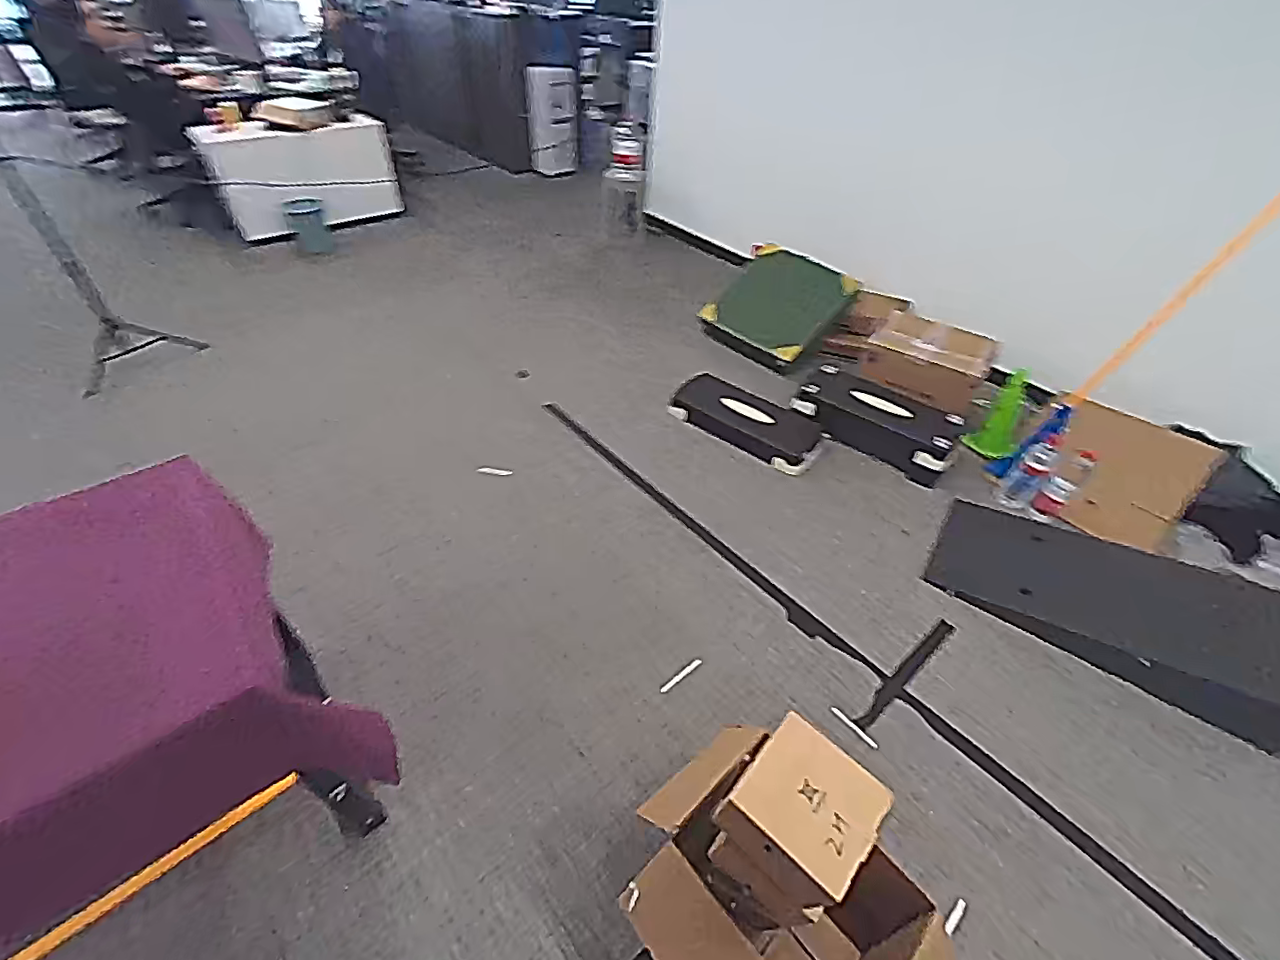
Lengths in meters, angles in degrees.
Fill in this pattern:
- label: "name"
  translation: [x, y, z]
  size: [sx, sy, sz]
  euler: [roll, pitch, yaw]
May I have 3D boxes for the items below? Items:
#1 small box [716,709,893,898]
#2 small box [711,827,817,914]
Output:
- label: "small box"
  translation: [0.236, 0.492, 0.818]
  size: [0.179, 0.176, 0.168]
  euler: [36, 57, 24]
- label: "small box"
  translation: [0.255, 0.716, 1.062]
  size: [0.179, 0.176, 0.168]
  euler: [25, 51, 16]
